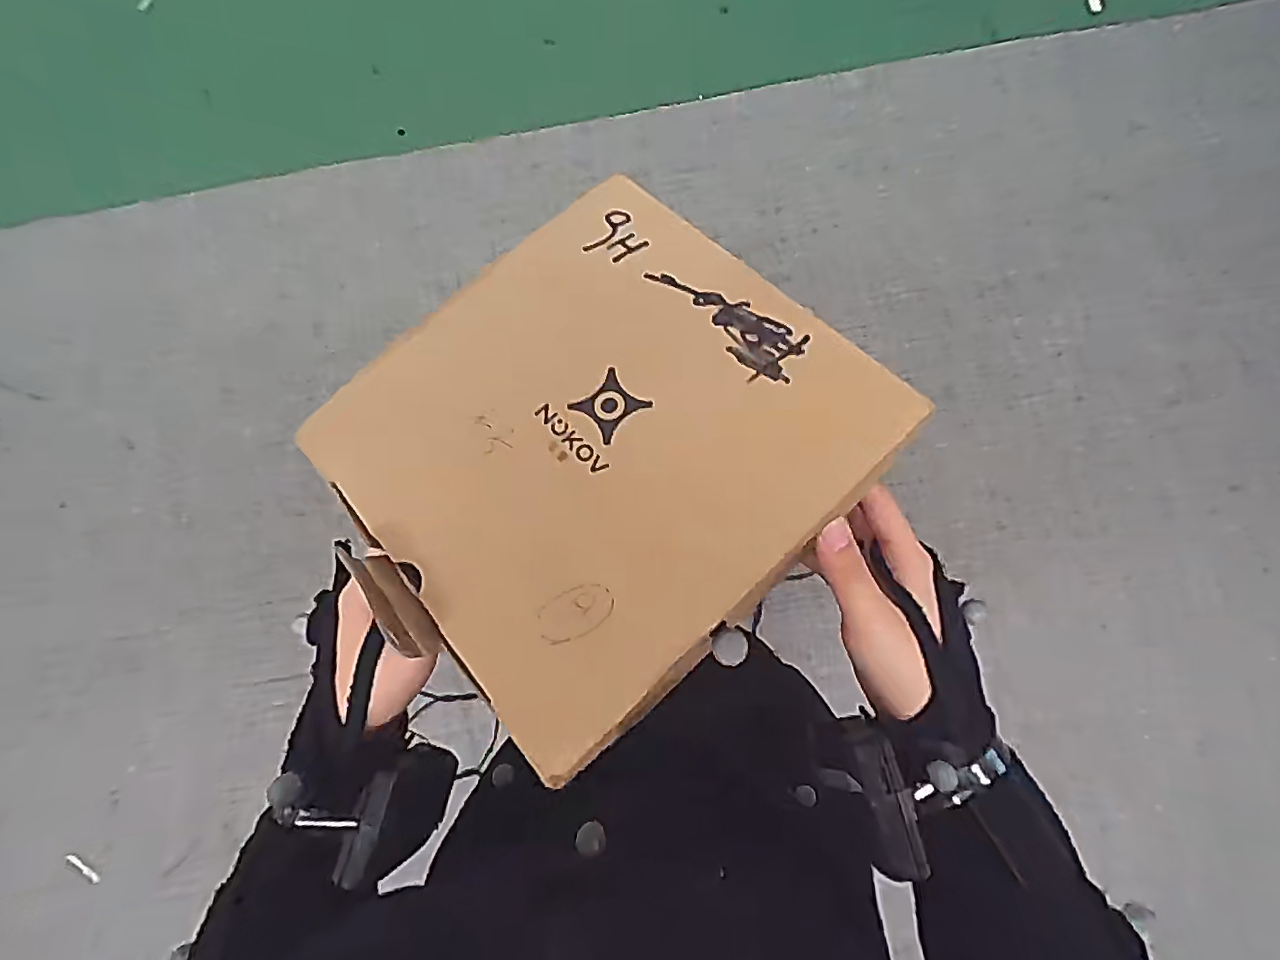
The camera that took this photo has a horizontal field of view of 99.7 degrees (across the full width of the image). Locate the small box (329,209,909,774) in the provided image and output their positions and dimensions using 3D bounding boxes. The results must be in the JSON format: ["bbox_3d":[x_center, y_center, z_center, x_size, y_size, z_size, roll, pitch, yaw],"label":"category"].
[{"bbox_3d":[-0.005,0.012,0.285,0.179,0.176,0.168,-43,71,-8],"label":"small box"}]
